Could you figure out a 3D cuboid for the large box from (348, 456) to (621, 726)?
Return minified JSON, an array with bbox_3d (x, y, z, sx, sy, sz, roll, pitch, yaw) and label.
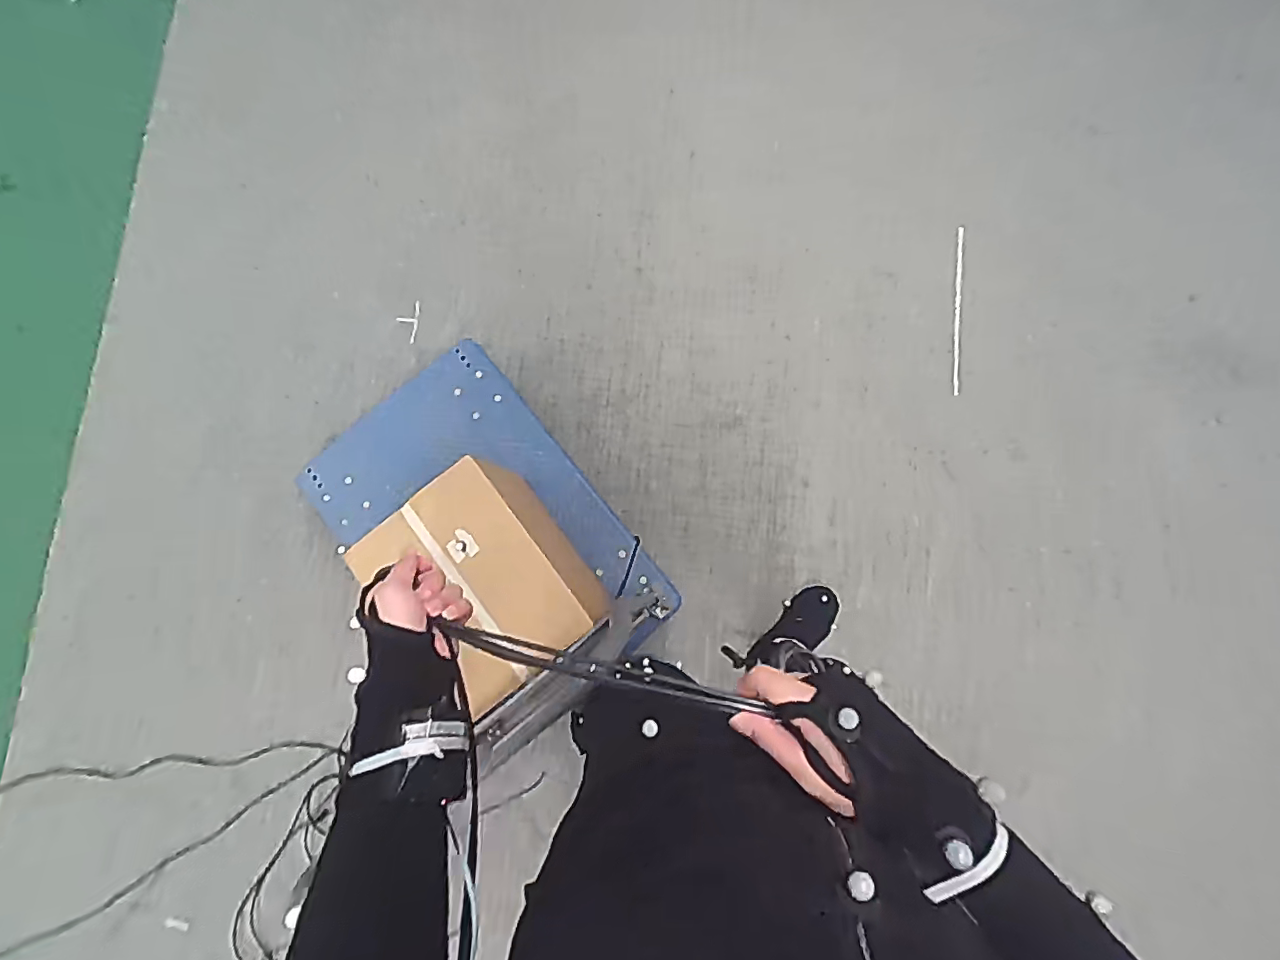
[{"bbox_3d":[-0.295,0.215,1.134,0.320,0.320,0.408,-38,81,-1],"label":"large box"}]
